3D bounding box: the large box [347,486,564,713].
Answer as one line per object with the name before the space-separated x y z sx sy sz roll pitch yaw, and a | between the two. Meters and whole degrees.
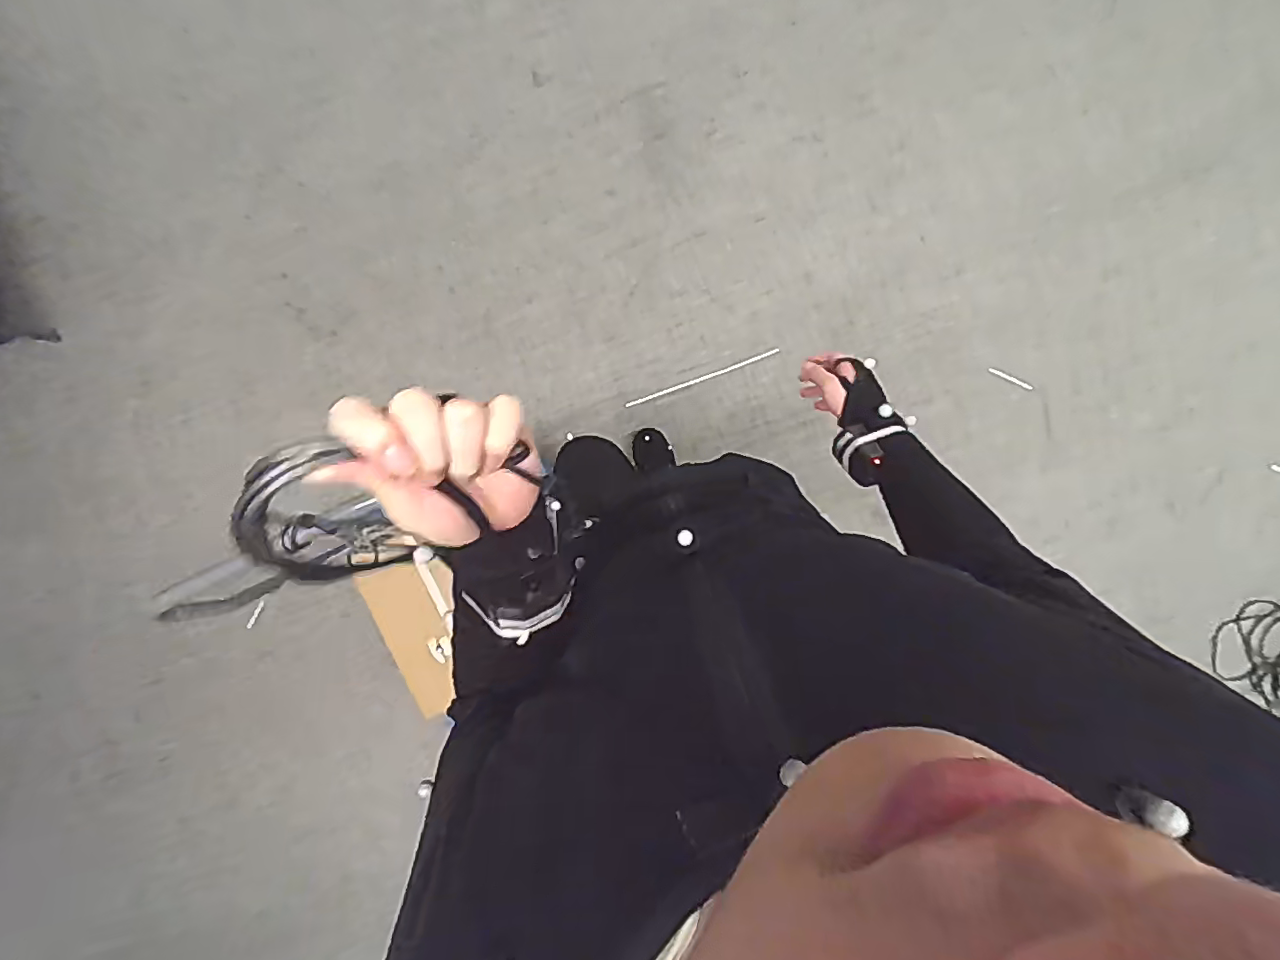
large box | -0.420 0.266 1.331 0.320 0.320 0.408 -24 95 2
